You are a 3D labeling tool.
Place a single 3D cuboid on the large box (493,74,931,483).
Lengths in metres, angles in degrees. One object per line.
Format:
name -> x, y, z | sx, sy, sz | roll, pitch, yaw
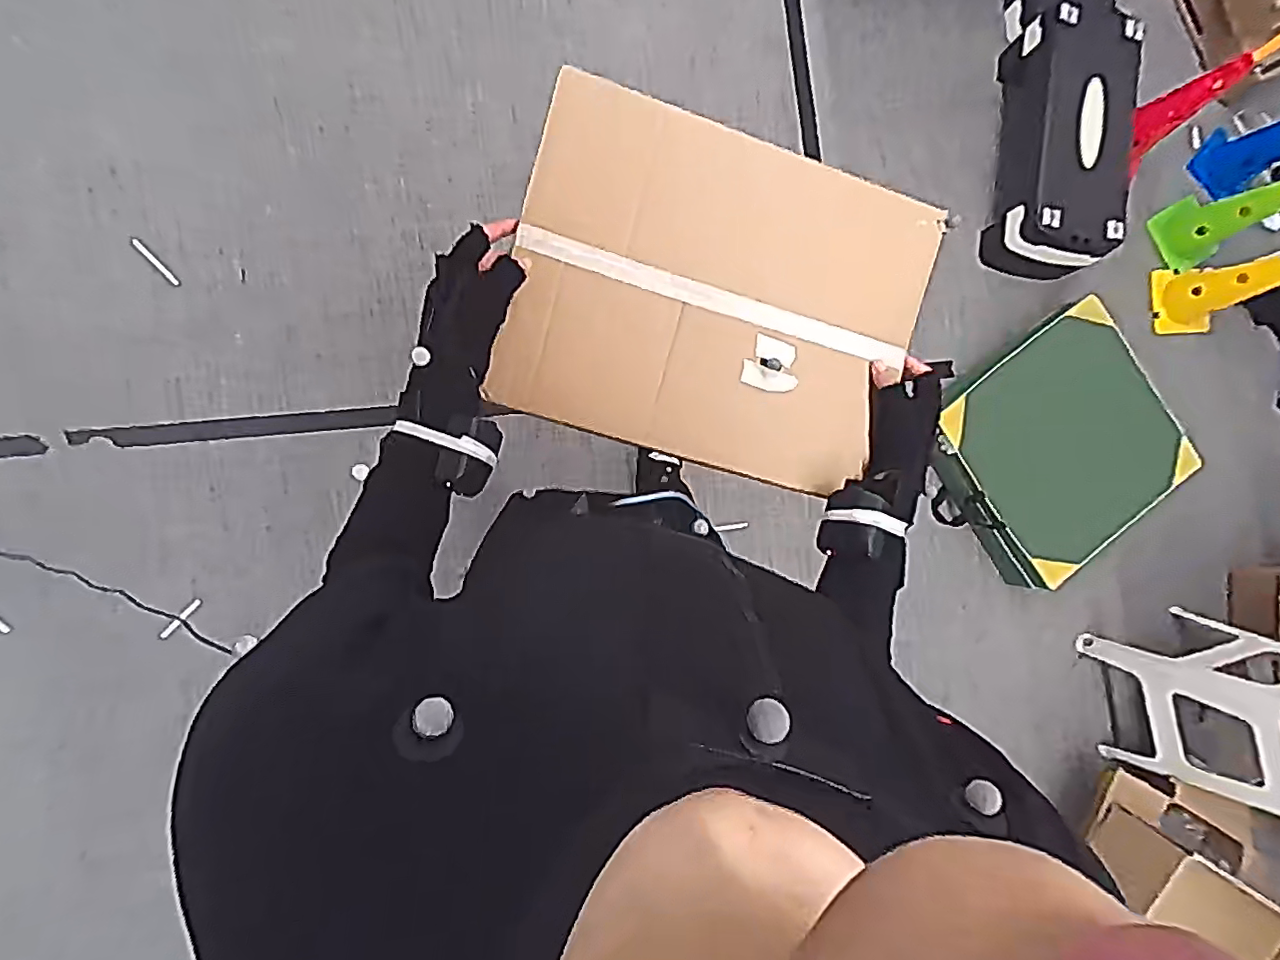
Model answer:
large box -> 0.059, -0.206, 0.695 | 0.408, 0.320, 0.320 | 15, 95, -10
